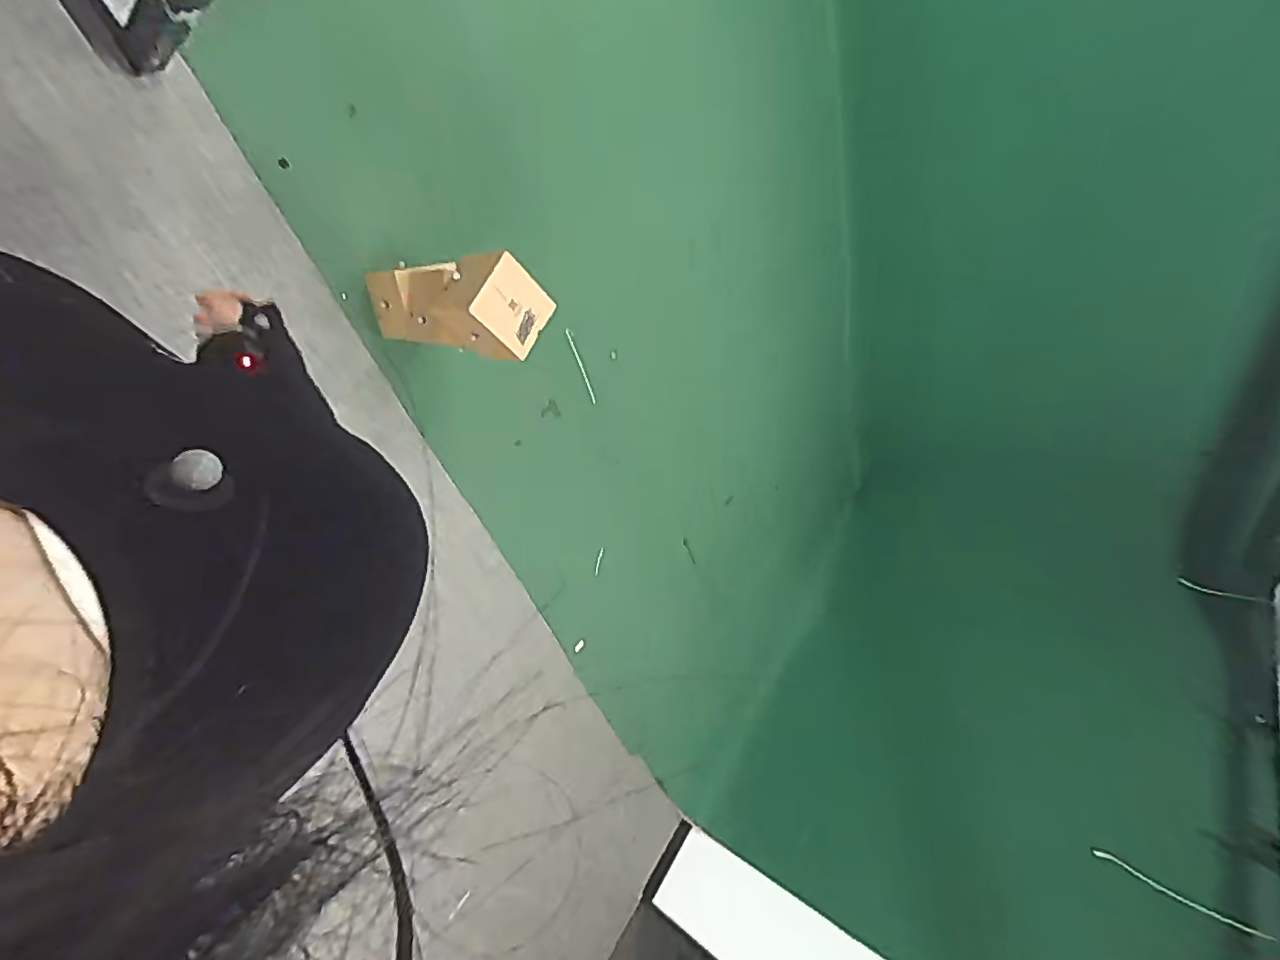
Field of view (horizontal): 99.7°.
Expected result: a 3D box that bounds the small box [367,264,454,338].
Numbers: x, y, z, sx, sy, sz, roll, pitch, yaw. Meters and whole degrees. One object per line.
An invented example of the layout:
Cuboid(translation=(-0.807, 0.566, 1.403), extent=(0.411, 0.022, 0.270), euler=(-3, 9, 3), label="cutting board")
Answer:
Cuboid(translation=(-0.595, -0.473, 1.433), extent=(0.179, 0.176, 0.168), euler=(-31, 124, -42), label="small box")

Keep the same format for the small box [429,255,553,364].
Cuboid(translation=(-0.342, -0.390, 1.241), extent=(0.179, 0.176, 0.168), euler=(43, 69, -47), label="small box")

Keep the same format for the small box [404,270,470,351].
Cuboid(translation=(-0.465, -0.415, 1.348), extent=(0.179, 0.176, 0.168), euler=(-4, 105, -51), label="small box")
